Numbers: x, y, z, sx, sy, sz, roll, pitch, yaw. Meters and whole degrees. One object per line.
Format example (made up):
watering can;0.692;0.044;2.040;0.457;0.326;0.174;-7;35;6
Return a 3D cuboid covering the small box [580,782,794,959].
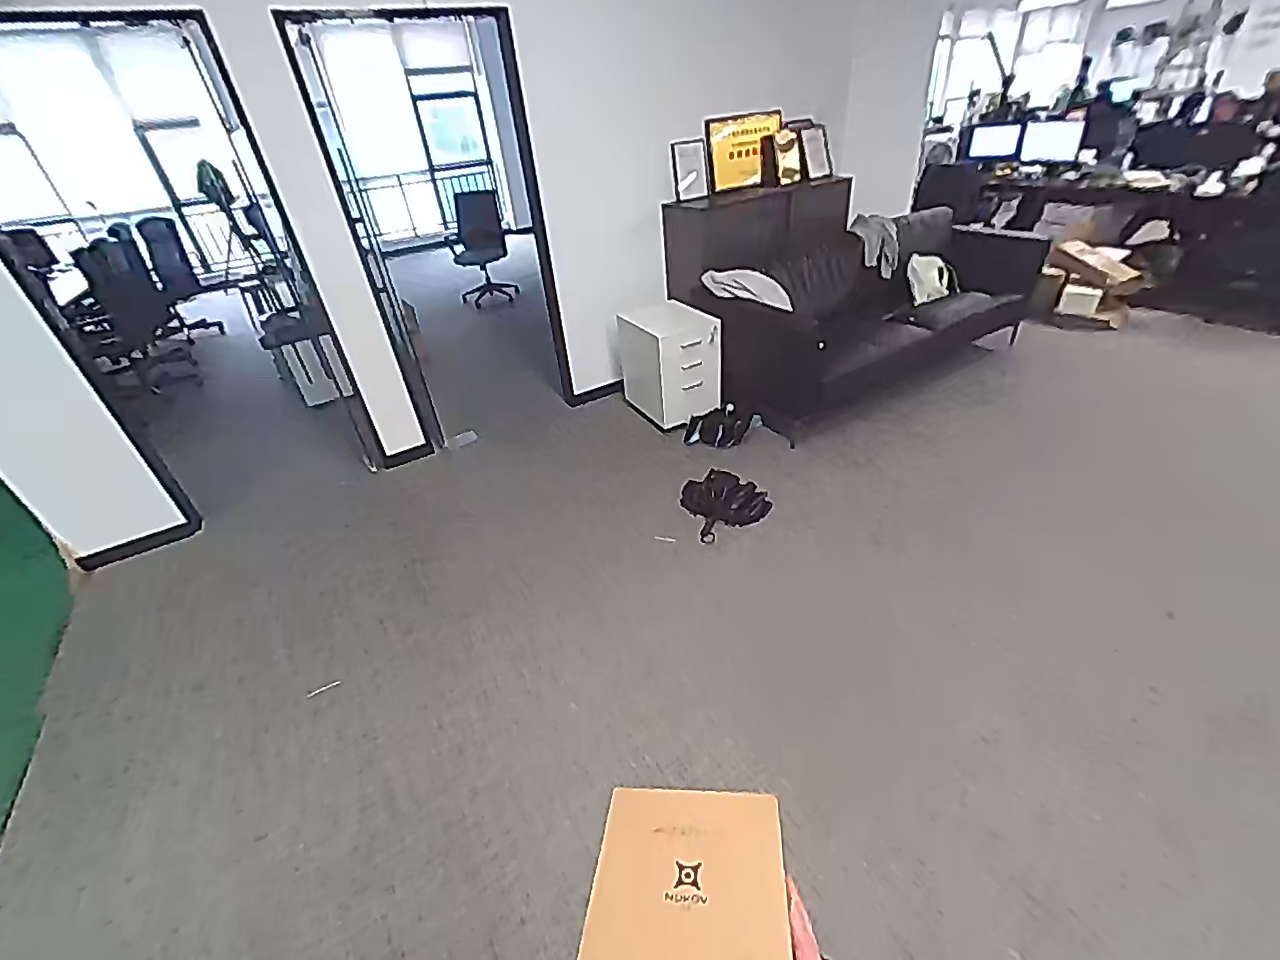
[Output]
small box;0.052;0.414;0.491;0.168;0.176;0.179;-2;20;10
